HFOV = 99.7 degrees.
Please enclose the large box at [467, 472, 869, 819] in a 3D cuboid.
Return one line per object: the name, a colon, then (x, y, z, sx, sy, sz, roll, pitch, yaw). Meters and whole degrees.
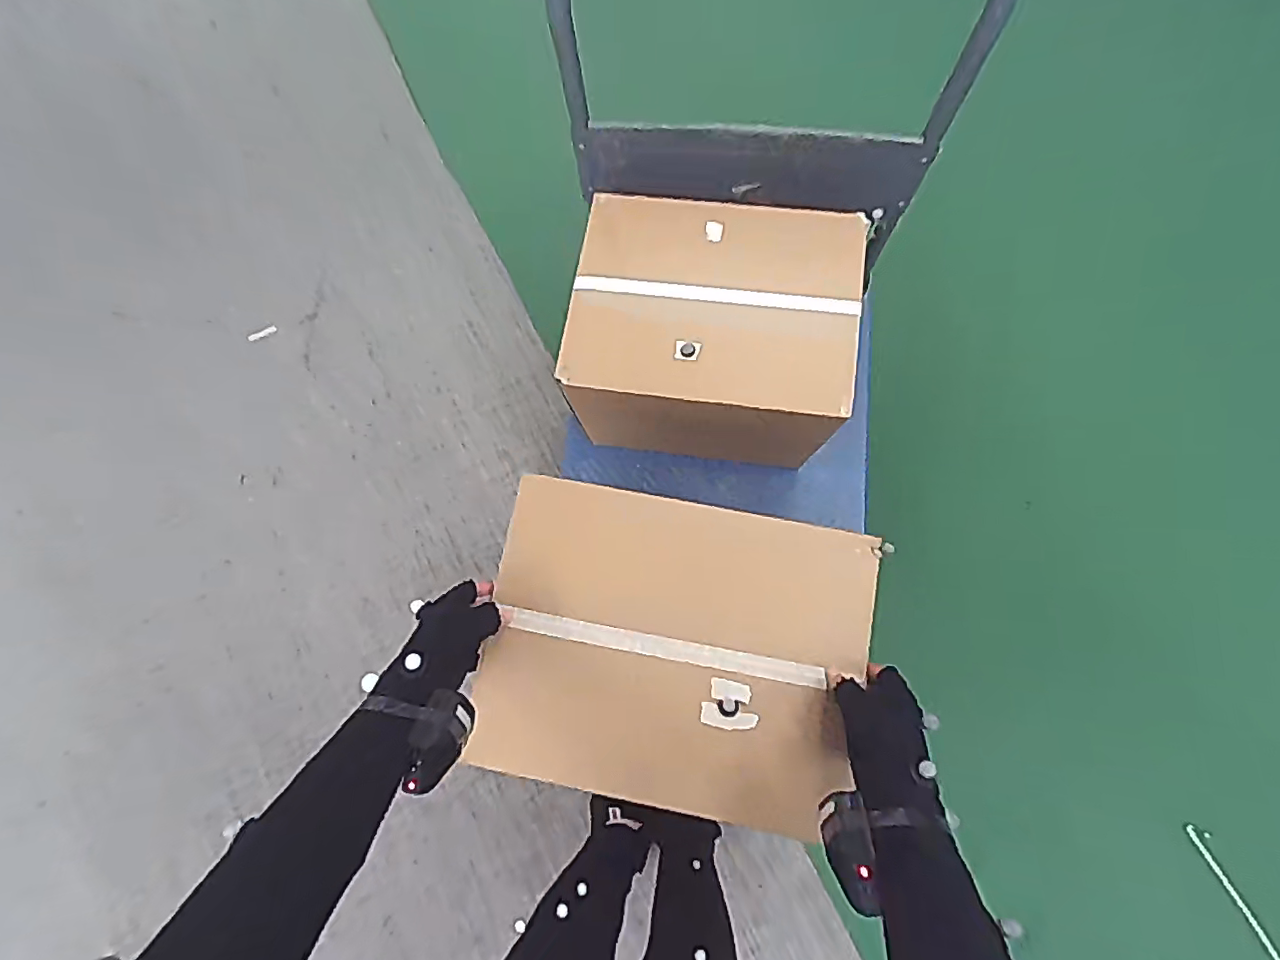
large box: (0.037, 0.197, 0.732, 0.408, 0.320, 0.320, 10, 80, 3)
